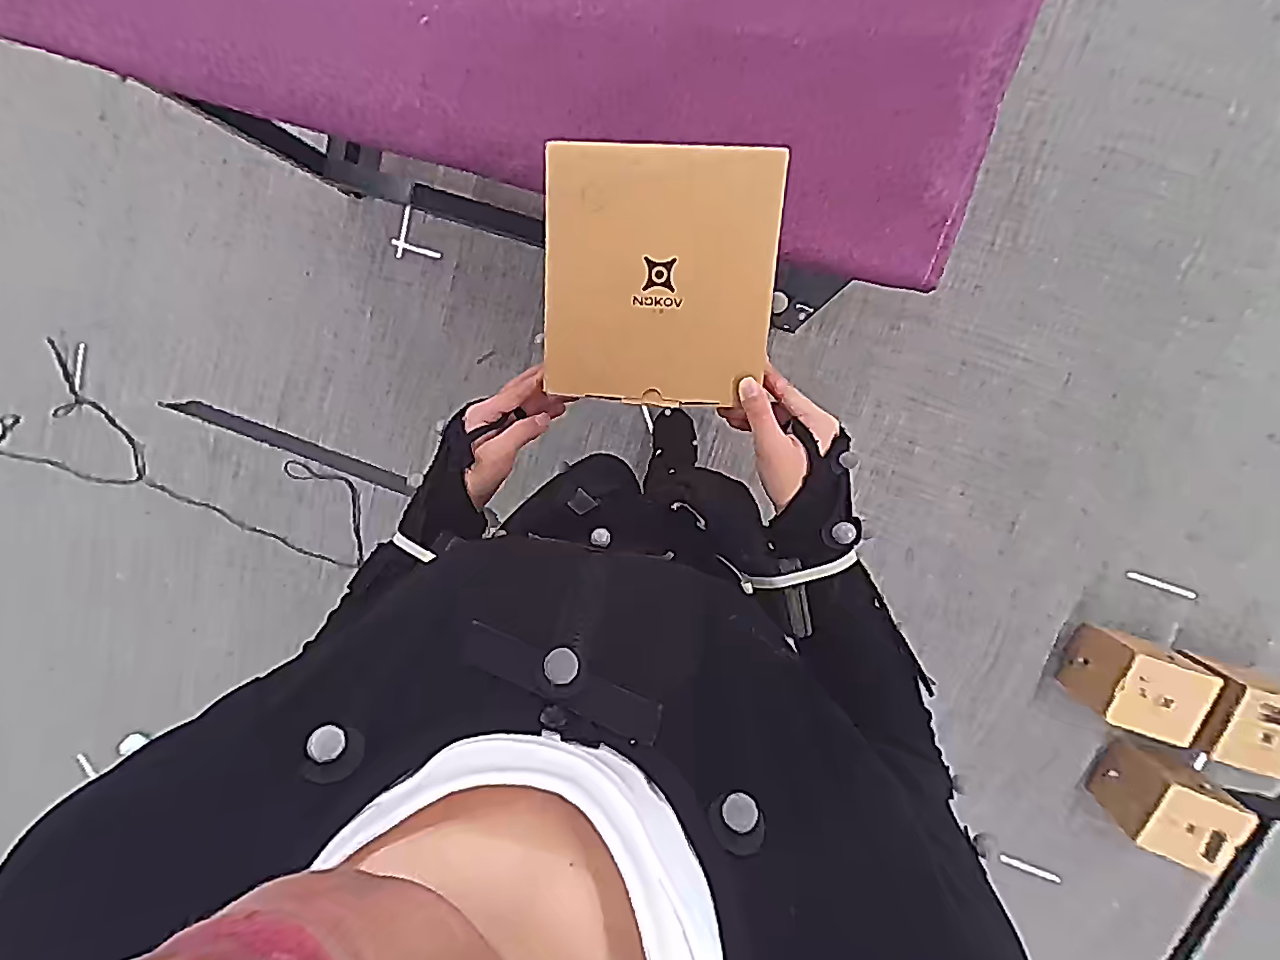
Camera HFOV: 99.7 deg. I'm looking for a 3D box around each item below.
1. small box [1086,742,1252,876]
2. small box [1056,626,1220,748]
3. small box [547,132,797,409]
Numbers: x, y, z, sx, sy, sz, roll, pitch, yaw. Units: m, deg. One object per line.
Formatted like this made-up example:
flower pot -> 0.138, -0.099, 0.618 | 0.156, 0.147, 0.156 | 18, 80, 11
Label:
small box -> 1.195, 0.740, 1.238 | 0.179, 0.176, 0.168 | 21, 101, 5
small box -> 1.094, 0.450, 1.205 | 0.179, 0.176, 0.168 | 18, 100, 5
small box -> 0.022, -0.163, 0.454 | 0.168, 0.176, 0.179 | 4, 106, 3
